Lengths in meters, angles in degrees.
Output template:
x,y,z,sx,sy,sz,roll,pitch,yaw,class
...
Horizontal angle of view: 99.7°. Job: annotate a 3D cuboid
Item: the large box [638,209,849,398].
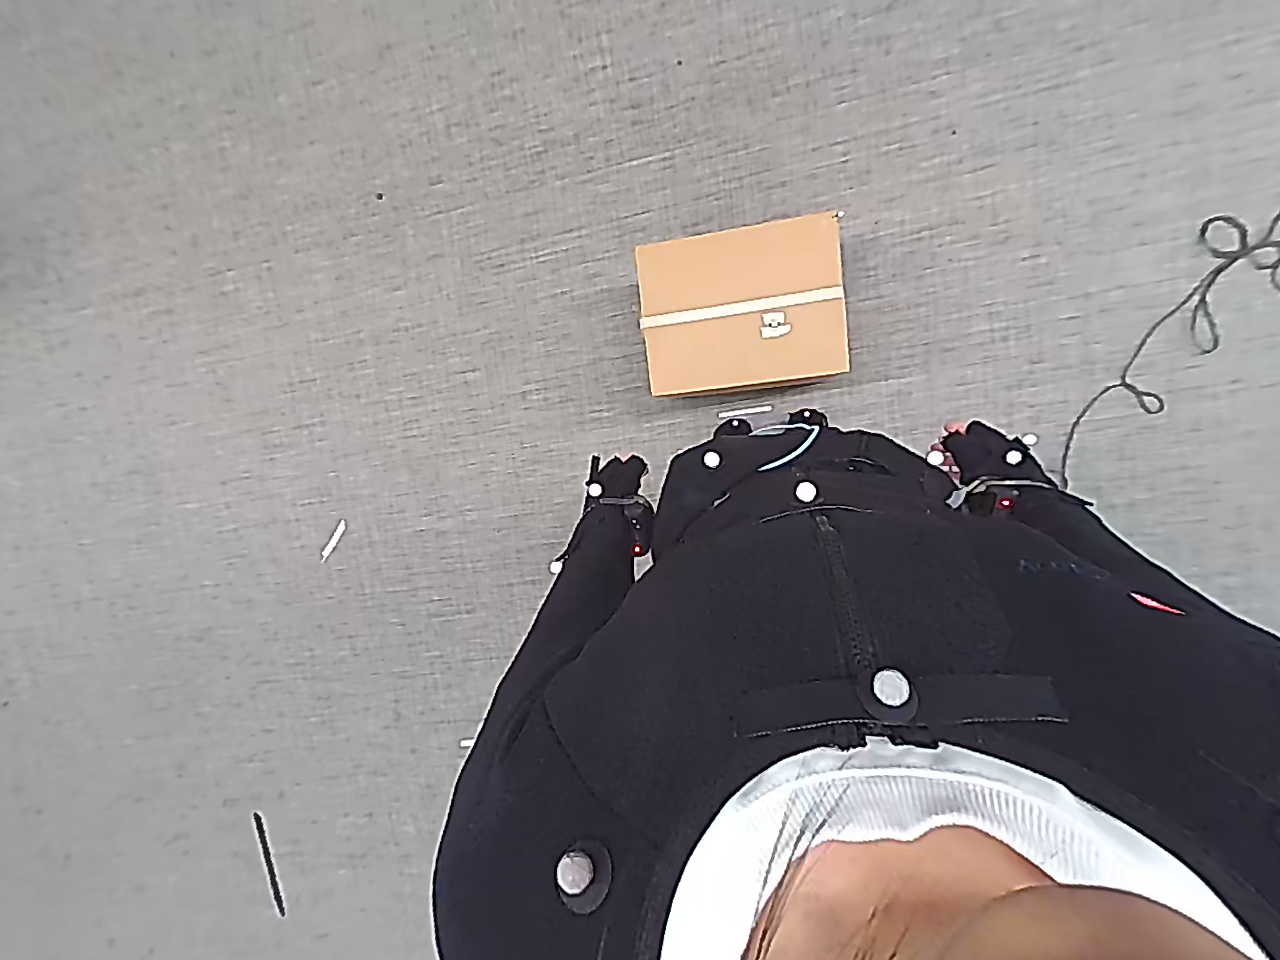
x,y,z,sx,sy,sz,roll,pitch,yaw,class
0.232,-0.373,1.248,0.408,0.320,0.320,-6,97,11,large box
